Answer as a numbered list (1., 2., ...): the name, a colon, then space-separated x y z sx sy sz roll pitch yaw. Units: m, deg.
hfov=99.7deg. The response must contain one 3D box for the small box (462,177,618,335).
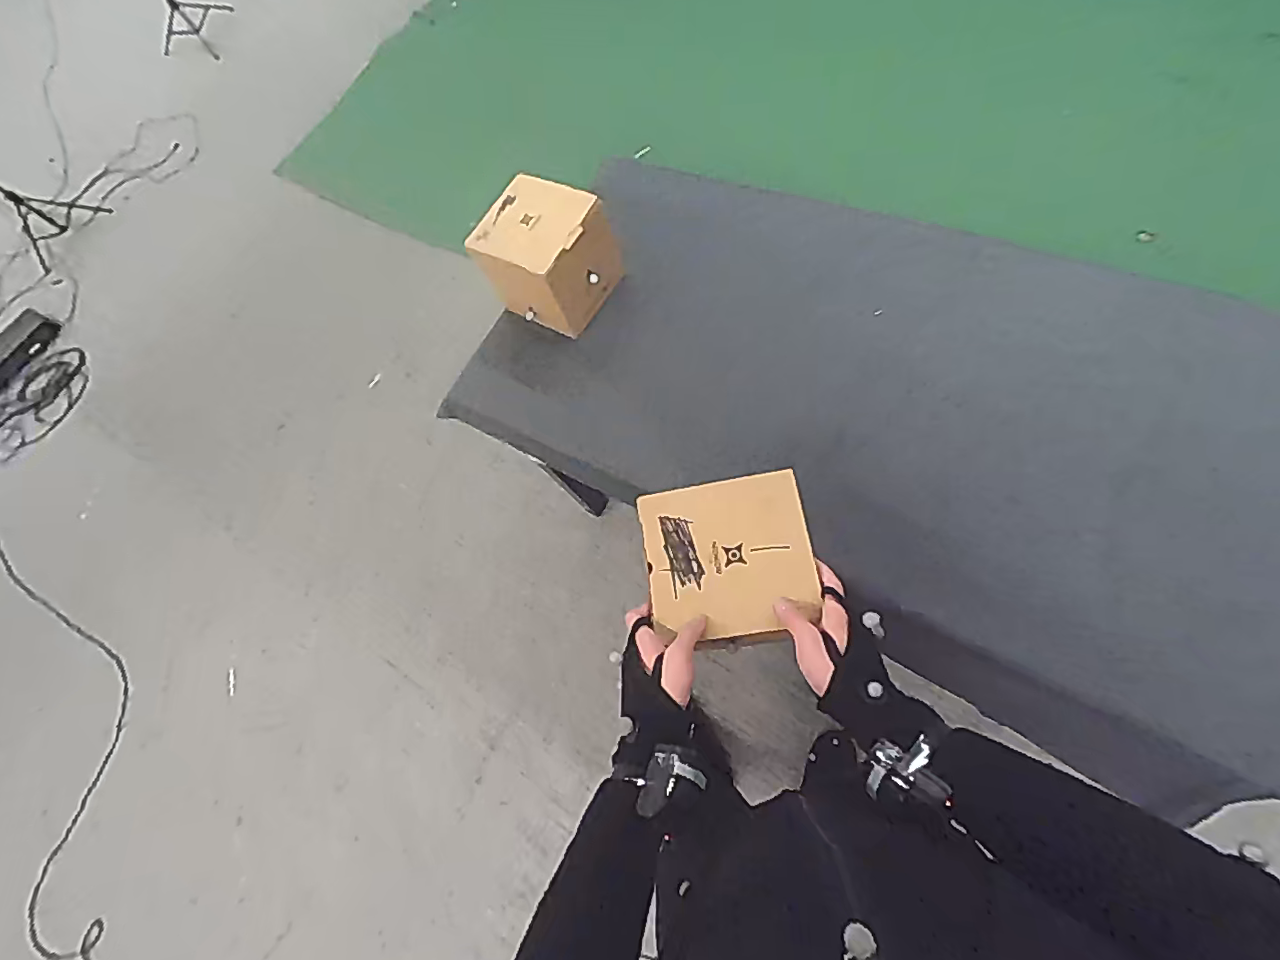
1. small box: -0.161 -0.379 0.939 0.179 0.176 0.168 28 78 20

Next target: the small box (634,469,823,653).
1. small box: 0.102 0.105 0.633 0.179 0.176 0.168 -10 68 8
